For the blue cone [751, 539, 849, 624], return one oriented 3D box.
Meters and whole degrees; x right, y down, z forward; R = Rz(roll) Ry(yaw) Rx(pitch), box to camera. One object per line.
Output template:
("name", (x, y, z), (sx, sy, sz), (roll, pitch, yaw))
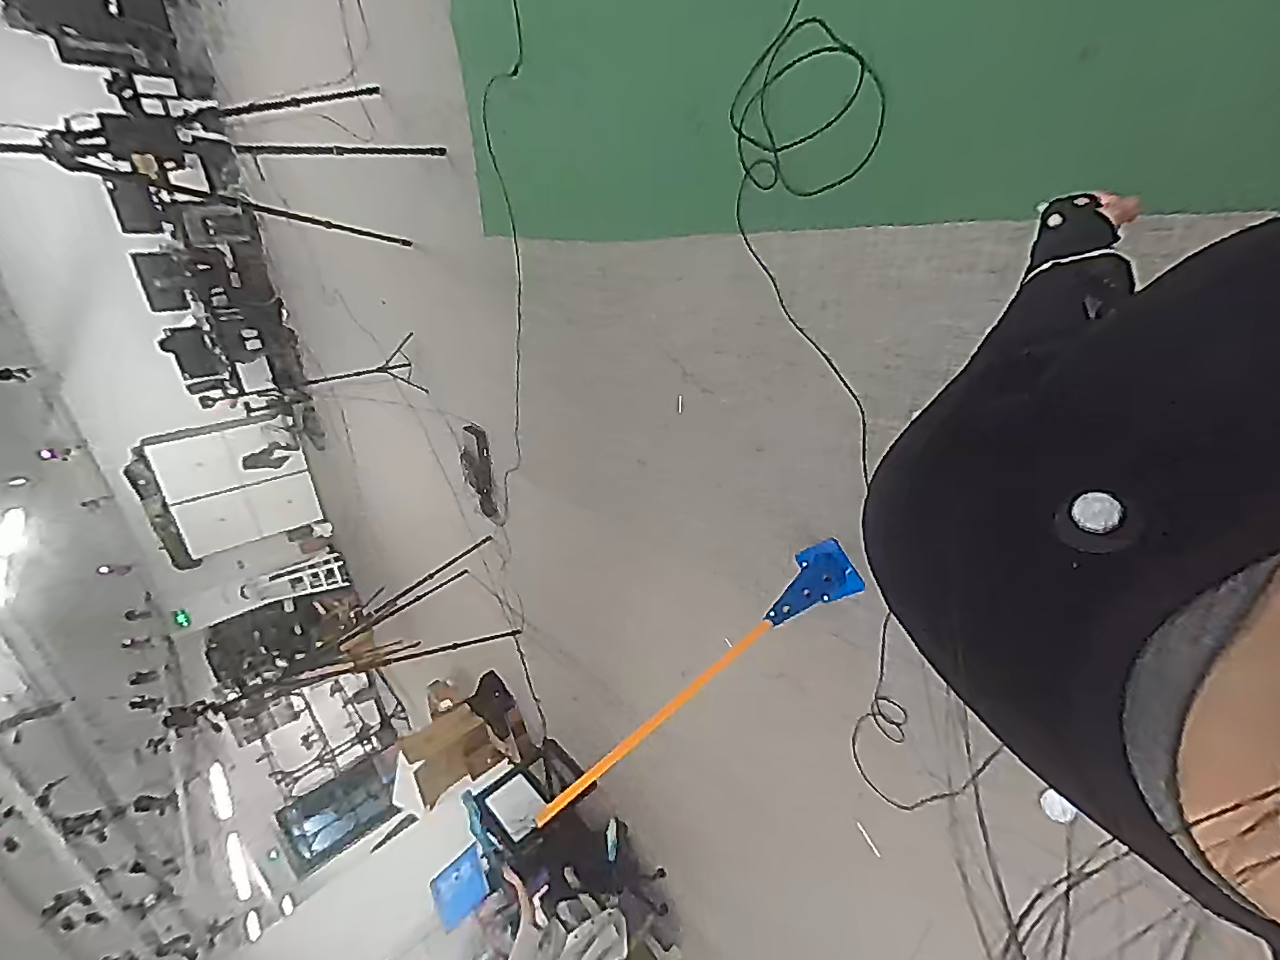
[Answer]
("blue cone", (0.493, 0.369, 1.768), (0.192, 0.380, 0.193), (57, 143, 9))
